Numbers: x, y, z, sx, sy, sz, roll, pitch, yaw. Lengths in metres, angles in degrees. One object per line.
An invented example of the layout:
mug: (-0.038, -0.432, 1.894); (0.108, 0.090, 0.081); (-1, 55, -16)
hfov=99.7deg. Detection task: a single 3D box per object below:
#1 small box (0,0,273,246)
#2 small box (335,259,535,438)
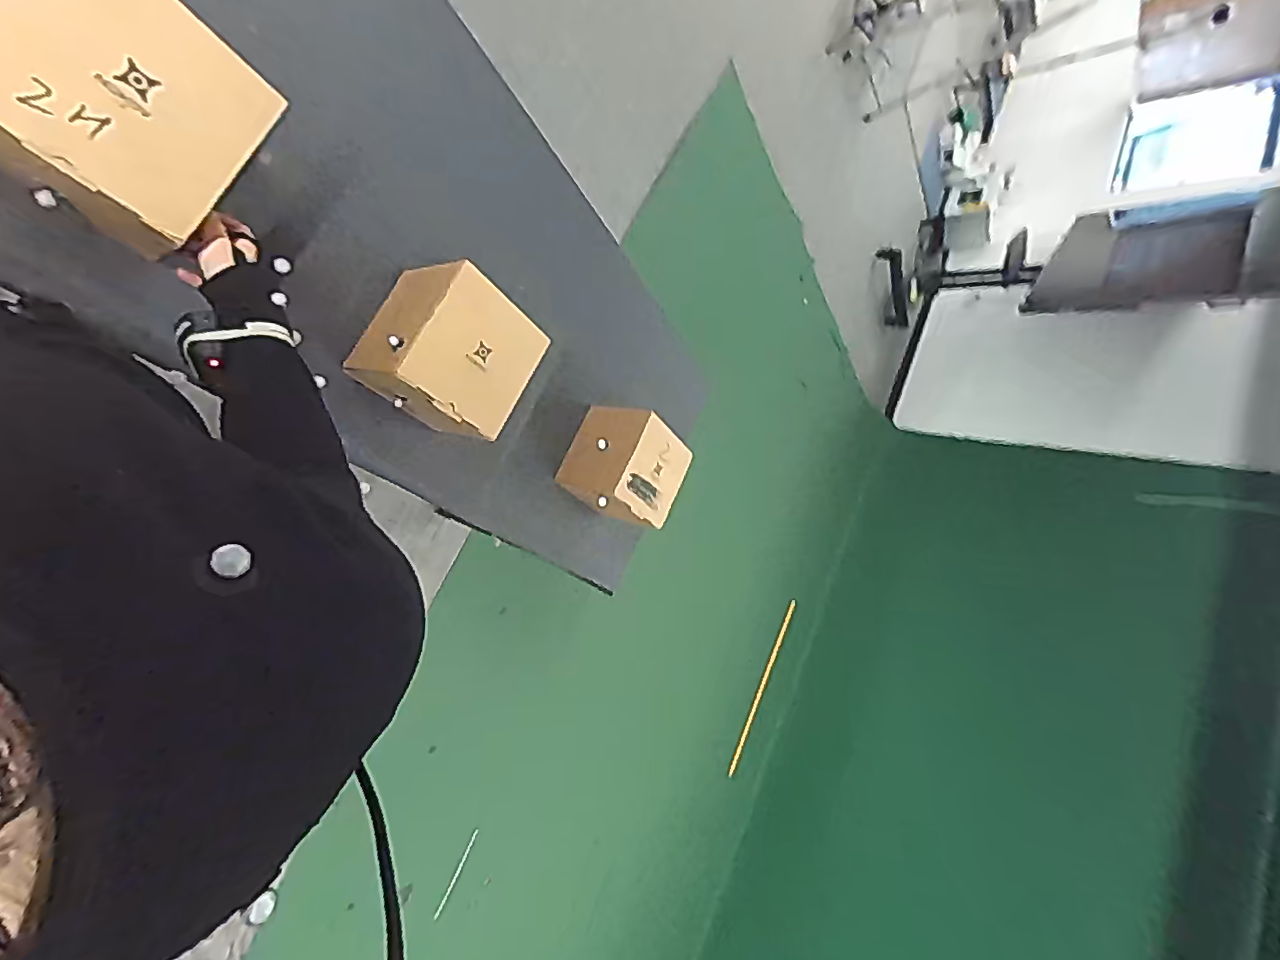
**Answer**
small box: (-0.481, -0.337, 0.479); (0.168, 0.176, 0.179); (40, 69, -48)
small box: (-0.289, -0.184, 0.762); (0.168, 0.176, 0.179); (41, 69, -48)
